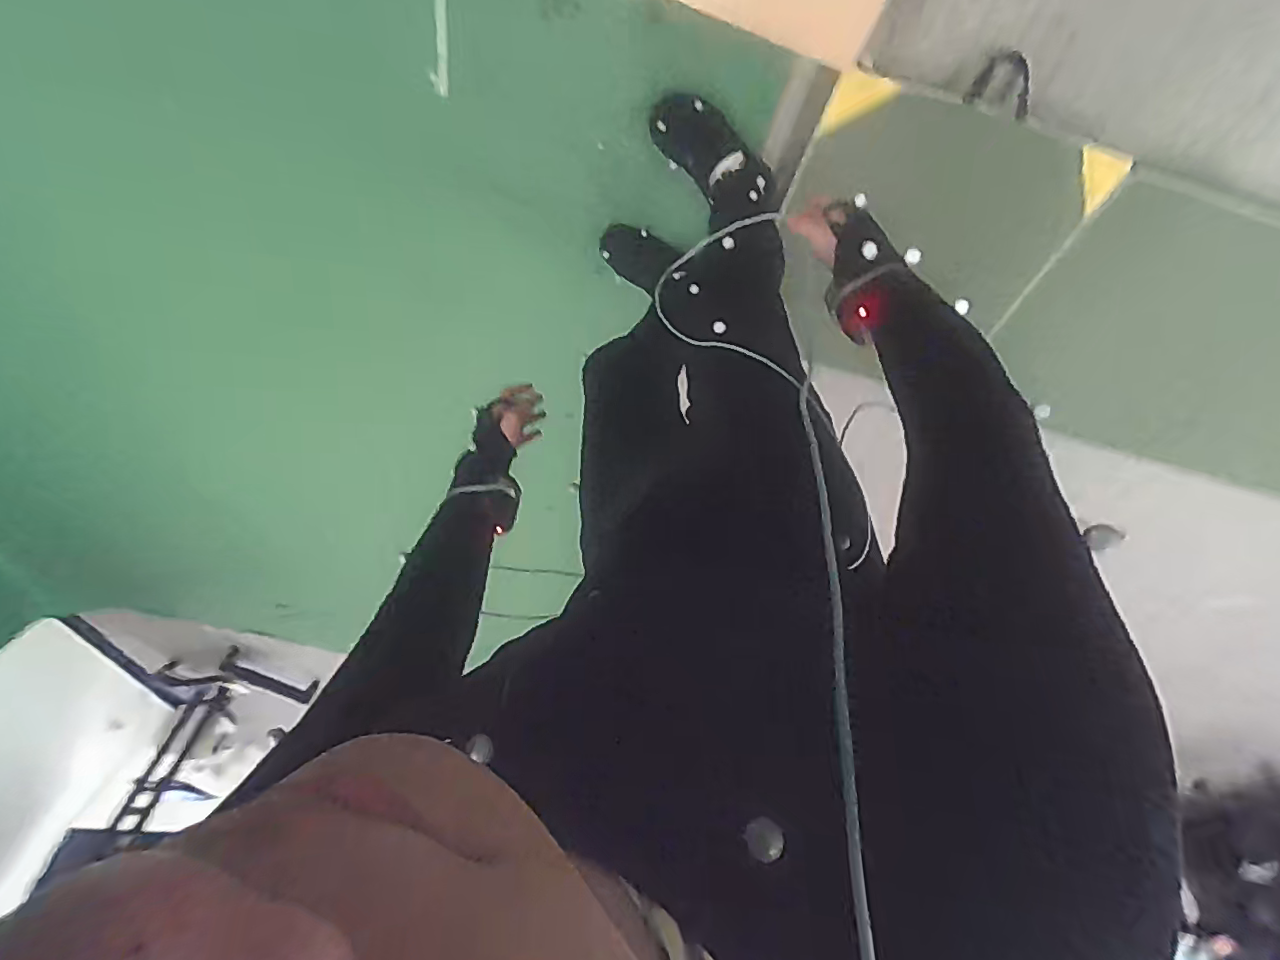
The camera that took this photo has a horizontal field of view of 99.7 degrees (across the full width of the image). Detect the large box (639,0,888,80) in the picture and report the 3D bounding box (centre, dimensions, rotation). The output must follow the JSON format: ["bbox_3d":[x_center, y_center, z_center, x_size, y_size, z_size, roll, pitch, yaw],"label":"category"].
[{"bbox_3d":[0.168,-0.828,0.743,0.408,0.320,0.320,16,137,-9],"label":"large box"}]
